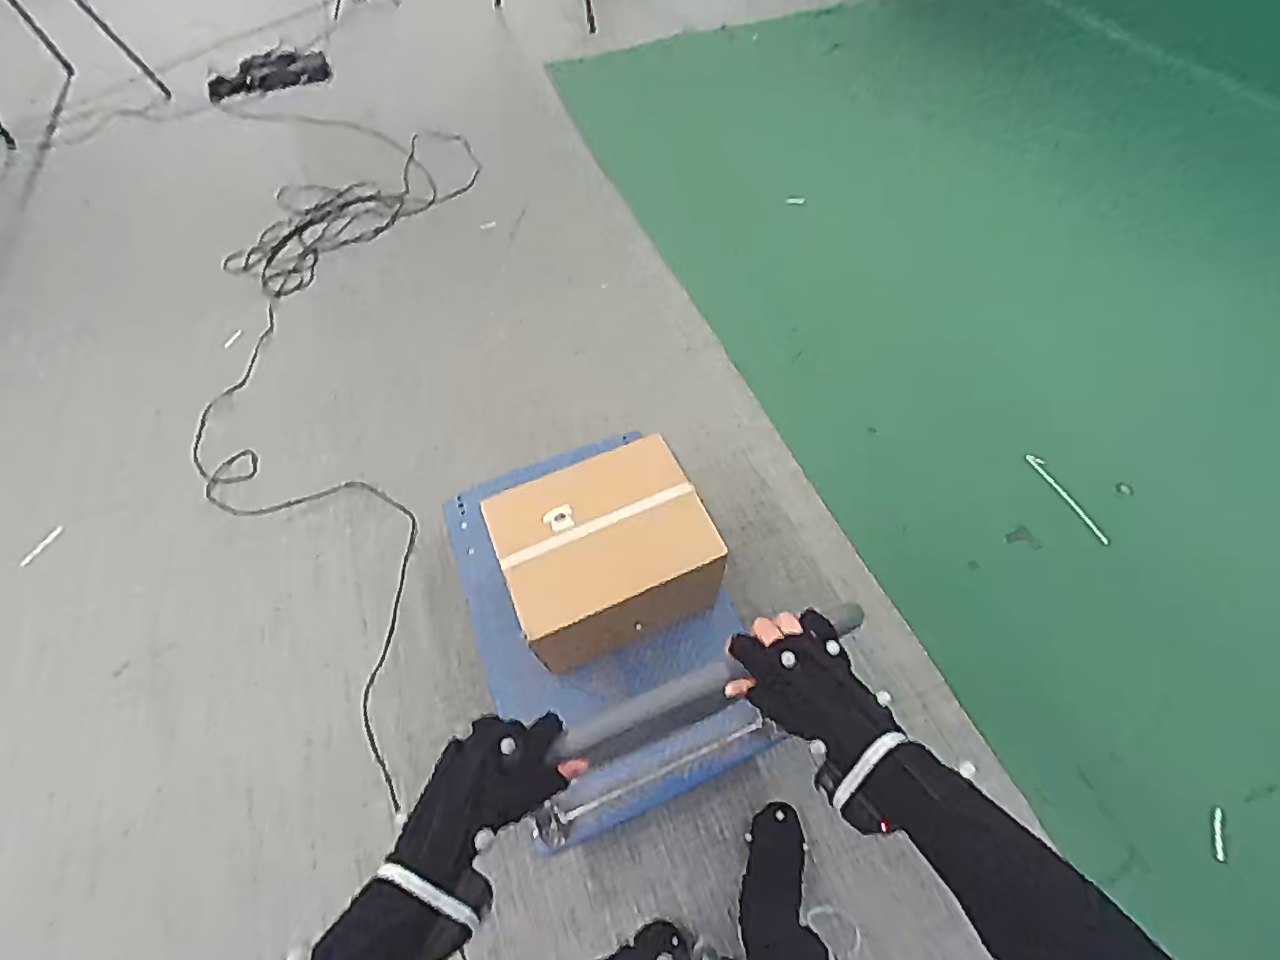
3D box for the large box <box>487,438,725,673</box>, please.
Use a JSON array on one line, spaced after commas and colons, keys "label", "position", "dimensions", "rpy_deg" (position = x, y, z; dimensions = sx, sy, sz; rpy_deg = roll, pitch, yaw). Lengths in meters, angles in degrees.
[{"label": "large box", "position": [-0.066, 0.175, 1.200], "dimensions": [0.408, 0.320, 0.320], "rpy_deg": [-23, 60, -9]}]
